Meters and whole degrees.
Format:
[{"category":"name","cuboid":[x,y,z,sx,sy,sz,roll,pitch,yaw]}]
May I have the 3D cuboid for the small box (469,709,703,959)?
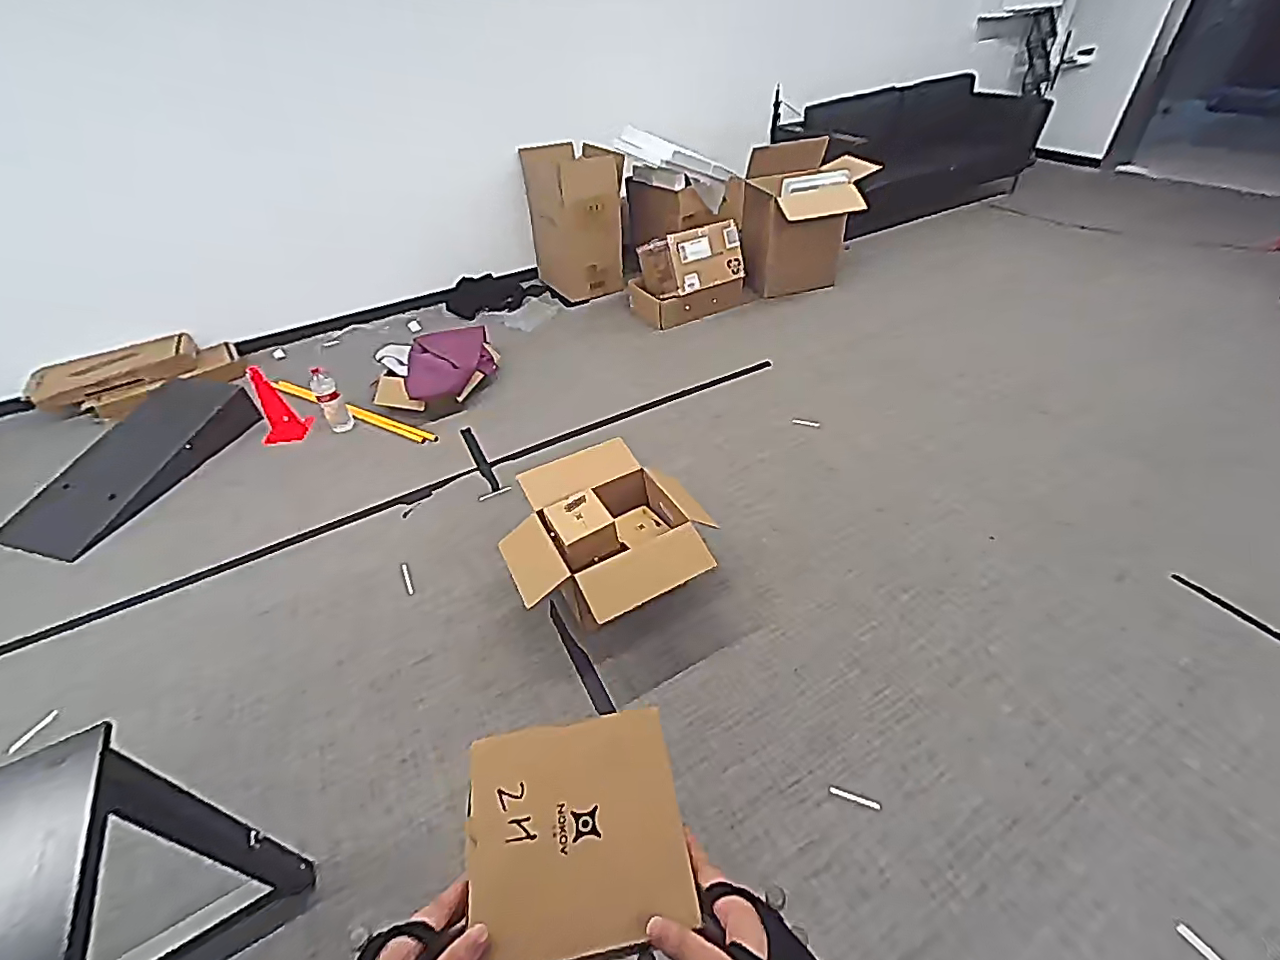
[{"category":"small box","cuboid":[-0.050,0.339,0.506,0.179,0.176,0.168,-9,48,-6]}]
